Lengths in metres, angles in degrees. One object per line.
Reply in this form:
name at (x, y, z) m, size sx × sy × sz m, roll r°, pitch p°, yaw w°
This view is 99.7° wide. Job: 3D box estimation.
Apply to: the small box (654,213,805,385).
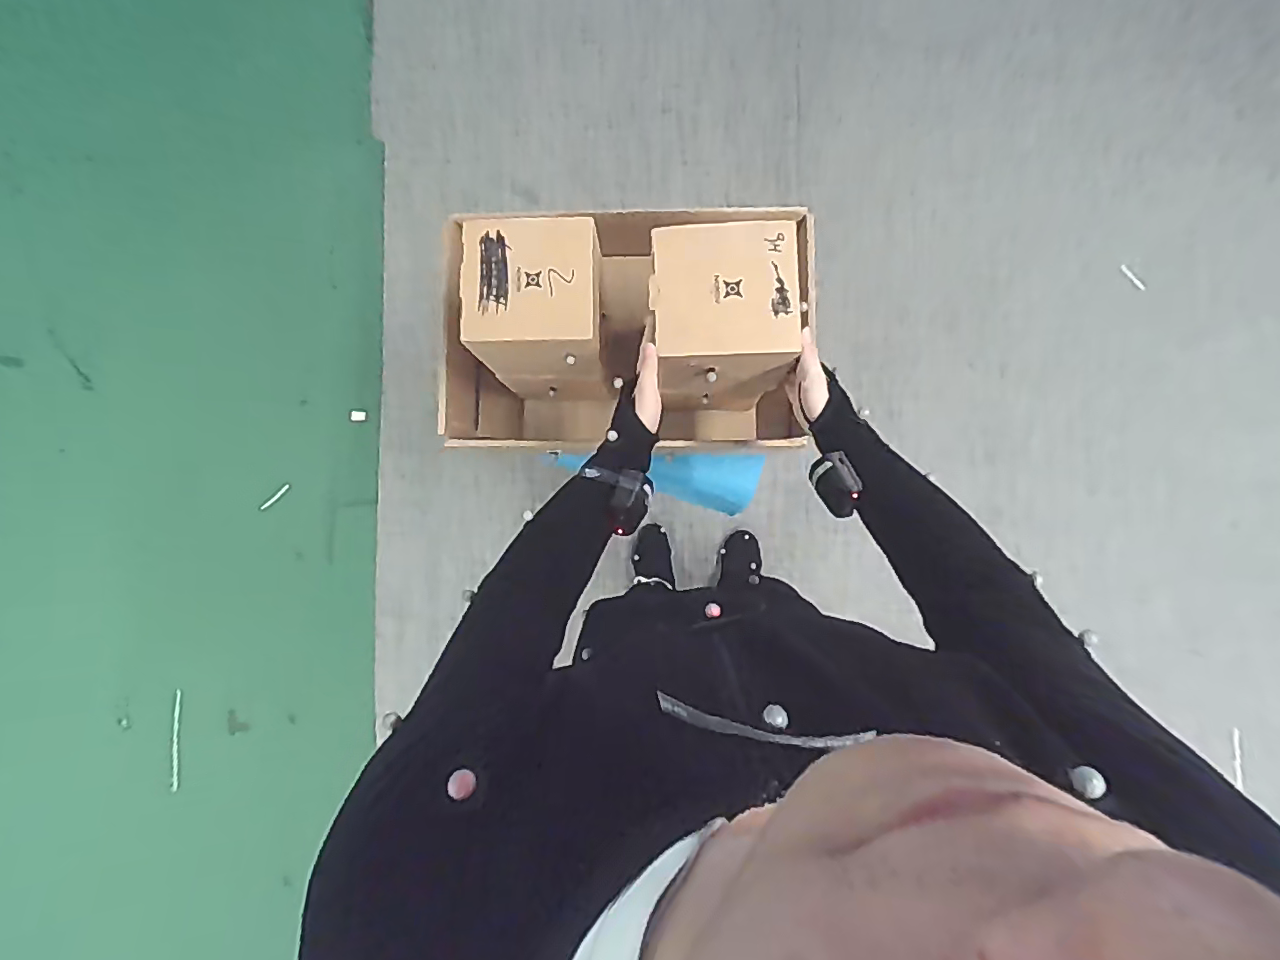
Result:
small box at (0.113, -0.227, 0.719) m, size 0.179 × 0.176 × 0.168 m, roll -1°, pitch 86°, yaw 5°
